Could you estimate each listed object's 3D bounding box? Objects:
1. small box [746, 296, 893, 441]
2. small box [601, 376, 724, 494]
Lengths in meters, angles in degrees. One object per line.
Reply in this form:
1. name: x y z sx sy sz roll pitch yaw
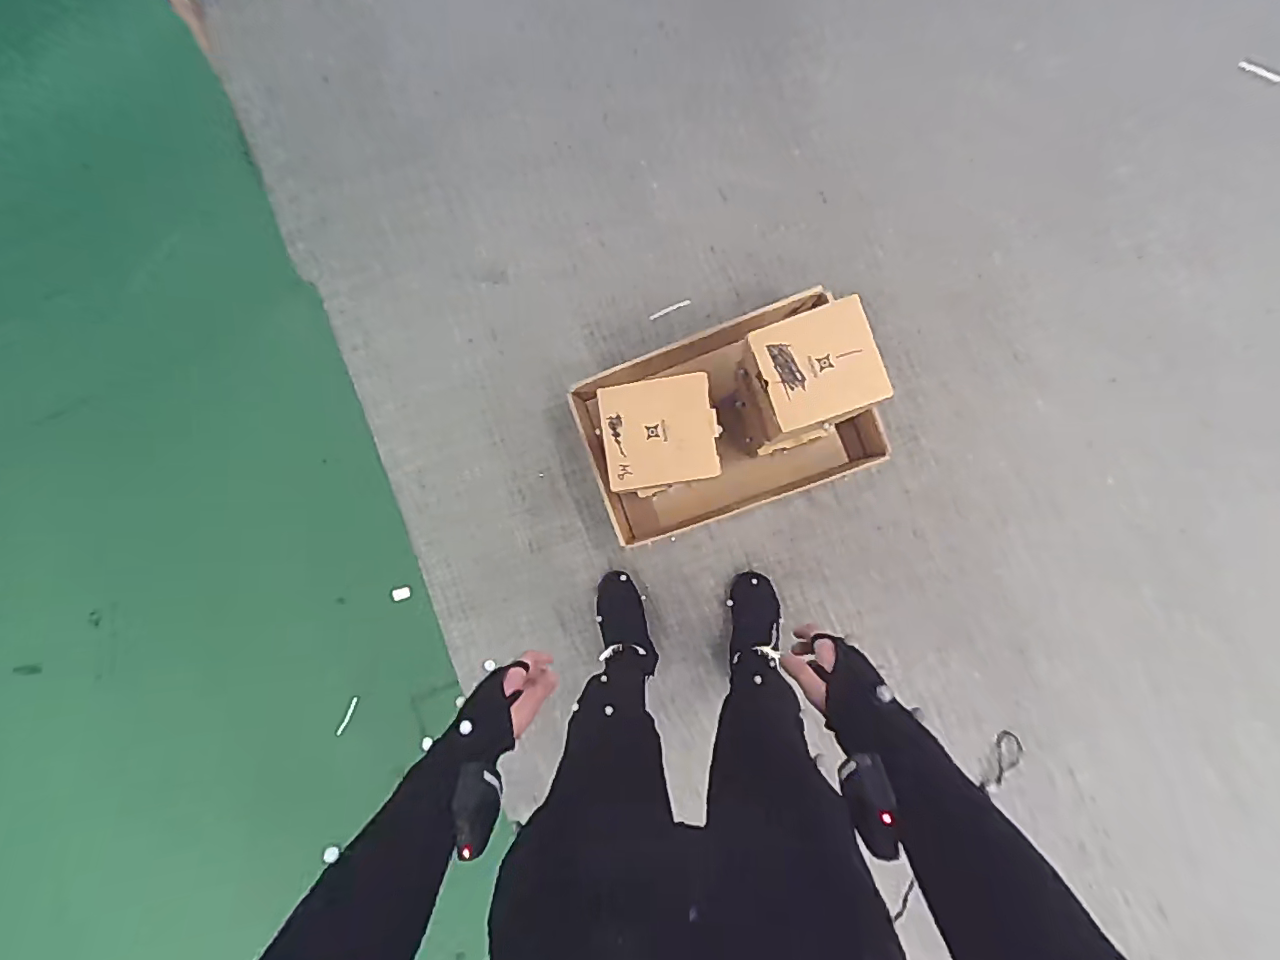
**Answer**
1. small box: 0.281 -0.171 0.891 0.179 0.176 0.168 -19 87 6
2. small box: 0.039 -0.070 0.918 0.179 0.176 0.168 -8 87 5
